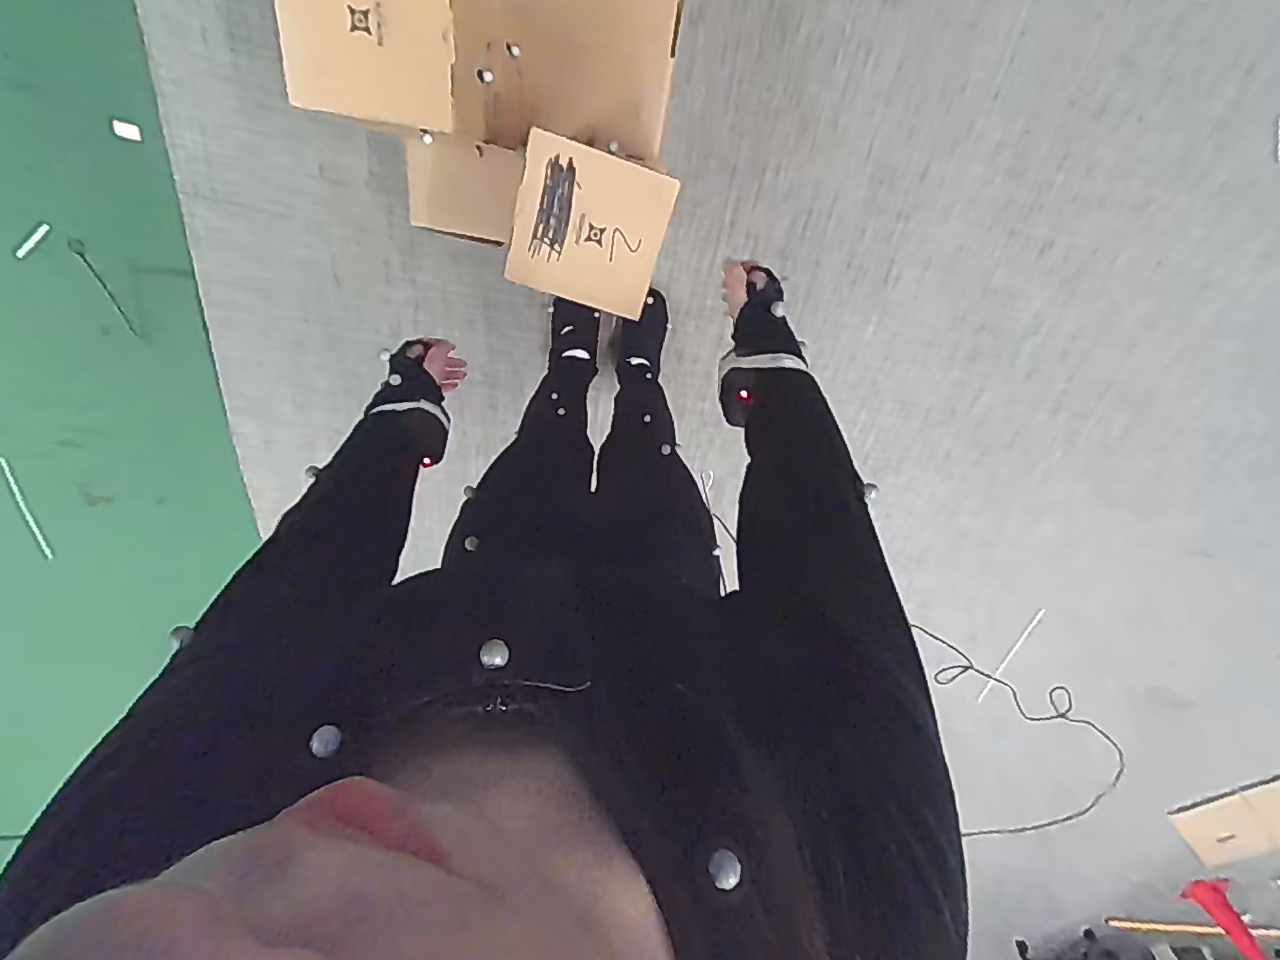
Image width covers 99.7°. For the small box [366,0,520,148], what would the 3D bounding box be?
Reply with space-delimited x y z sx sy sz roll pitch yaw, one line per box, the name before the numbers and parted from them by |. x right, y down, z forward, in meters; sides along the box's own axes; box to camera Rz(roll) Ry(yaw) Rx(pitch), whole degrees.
small box | -0.269 -0.574 0.757 0.179 0.176 0.168 7 118 -3

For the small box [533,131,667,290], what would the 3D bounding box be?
small box | -0.063 -0.417 0.844 0.168 0.176 0.179 11 118 -7

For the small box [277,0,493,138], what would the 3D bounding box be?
small box | -0.275 -0.499 0.612 0.179 0.176 0.168 7 118 -4
